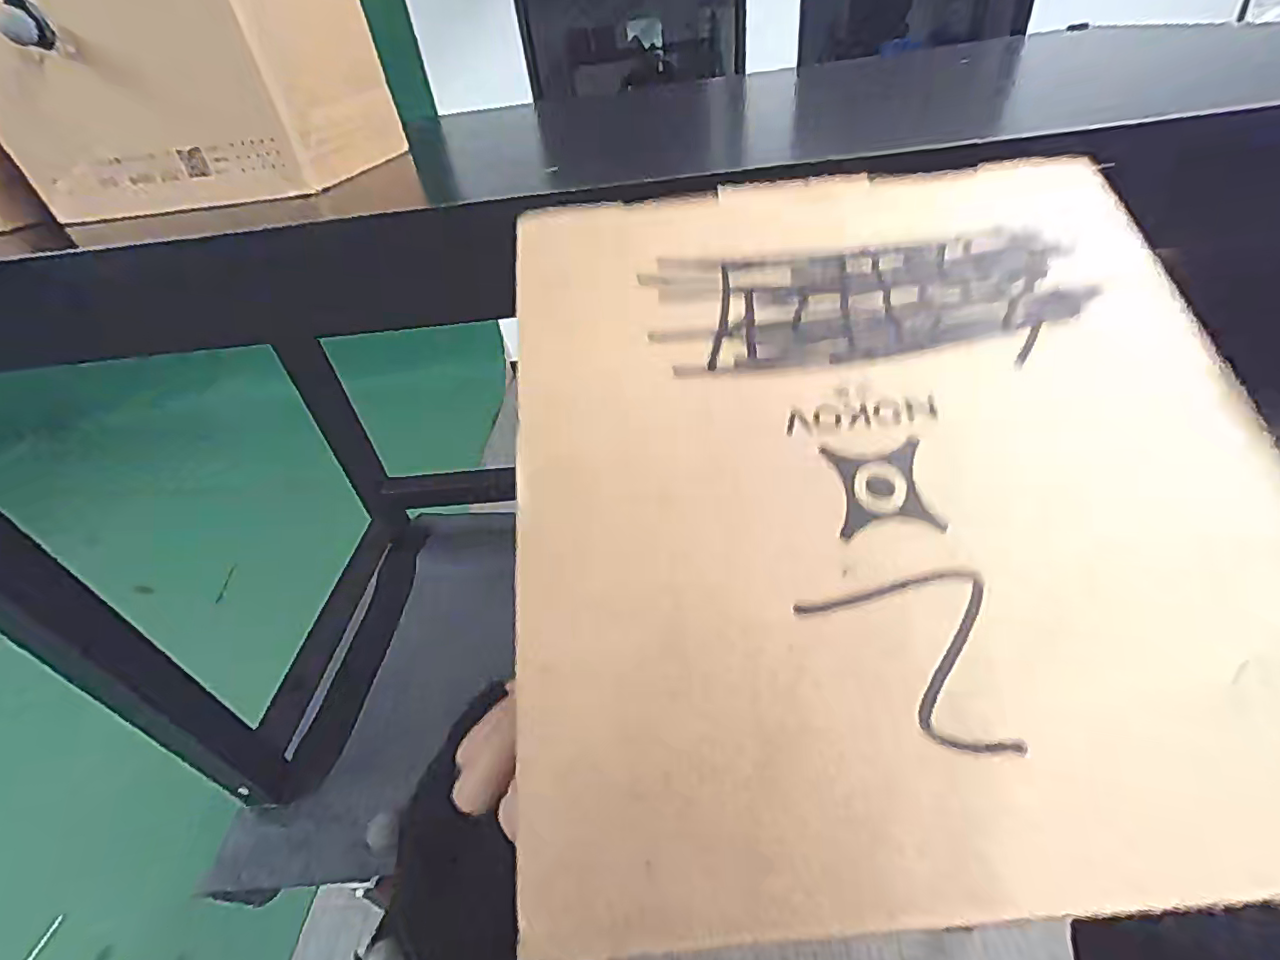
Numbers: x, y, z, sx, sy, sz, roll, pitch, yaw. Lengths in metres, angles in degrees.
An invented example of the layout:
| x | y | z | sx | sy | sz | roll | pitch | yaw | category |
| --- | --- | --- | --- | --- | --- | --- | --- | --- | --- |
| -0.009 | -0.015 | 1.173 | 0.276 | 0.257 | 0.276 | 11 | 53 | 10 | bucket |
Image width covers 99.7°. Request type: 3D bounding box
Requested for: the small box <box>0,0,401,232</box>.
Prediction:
| x | y | z | sx | sy | sz | roll | pitch | yaw | category |
| --- | --- | --- | --- | --- | --- | --- | --- | --- | --- |
| -0.284 | -0.271 | 0.350 | 0.168 | 0.176 | 0.179 | -5 | 38 | 4 | small box |
